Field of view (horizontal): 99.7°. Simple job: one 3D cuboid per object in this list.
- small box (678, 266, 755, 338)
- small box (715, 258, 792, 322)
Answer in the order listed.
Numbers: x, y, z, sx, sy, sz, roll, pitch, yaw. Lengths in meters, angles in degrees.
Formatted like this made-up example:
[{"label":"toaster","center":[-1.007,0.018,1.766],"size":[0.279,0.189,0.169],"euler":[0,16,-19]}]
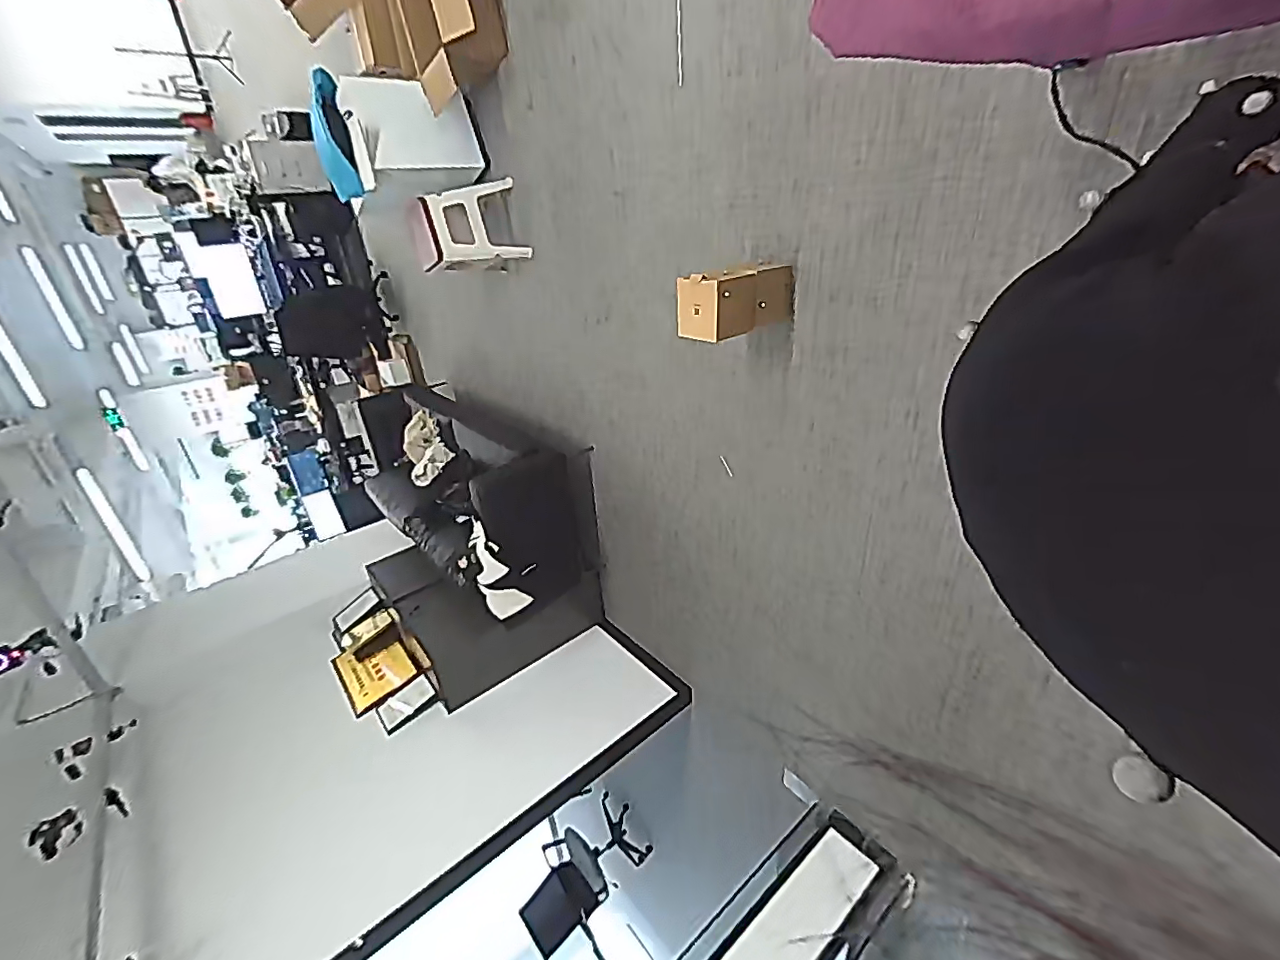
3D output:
[{"label":"small box","center":[0.231,-0.543,1.636],"size":[0.168,0.176,0.179],"euler":[26,129,44]},{"label":"small box","center":[0.357,-0.608,1.718],"size":[0.179,0.176,0.168],"euler":[27,130,45]}]
